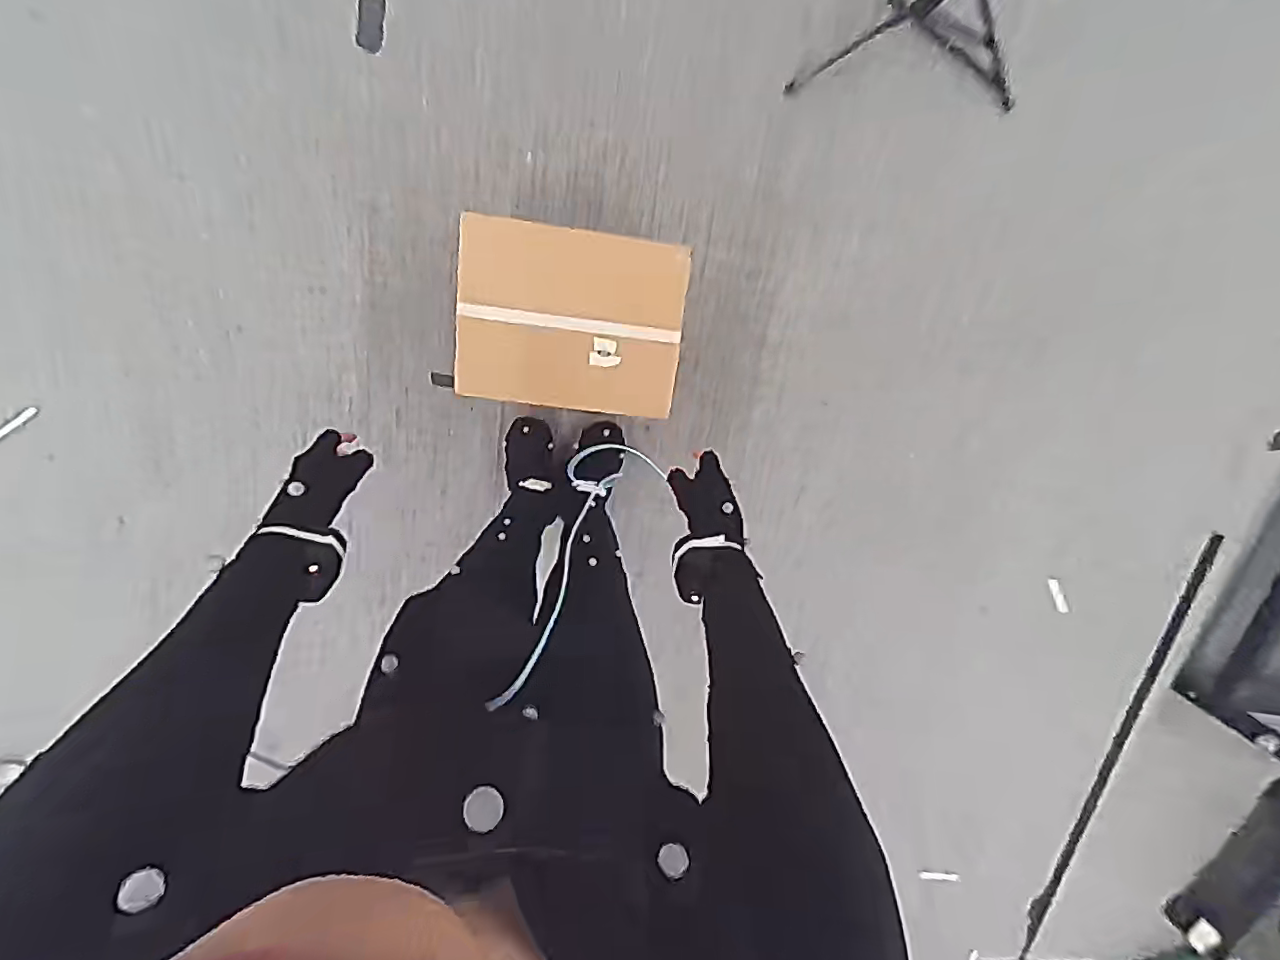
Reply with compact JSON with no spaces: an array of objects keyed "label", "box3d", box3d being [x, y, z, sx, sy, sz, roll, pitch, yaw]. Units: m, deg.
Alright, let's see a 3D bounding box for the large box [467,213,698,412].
[{"label":"large box","box3d":[-0.123,-0.337,1.130,0.408,0.320,0.320,6,107,-7]}]
